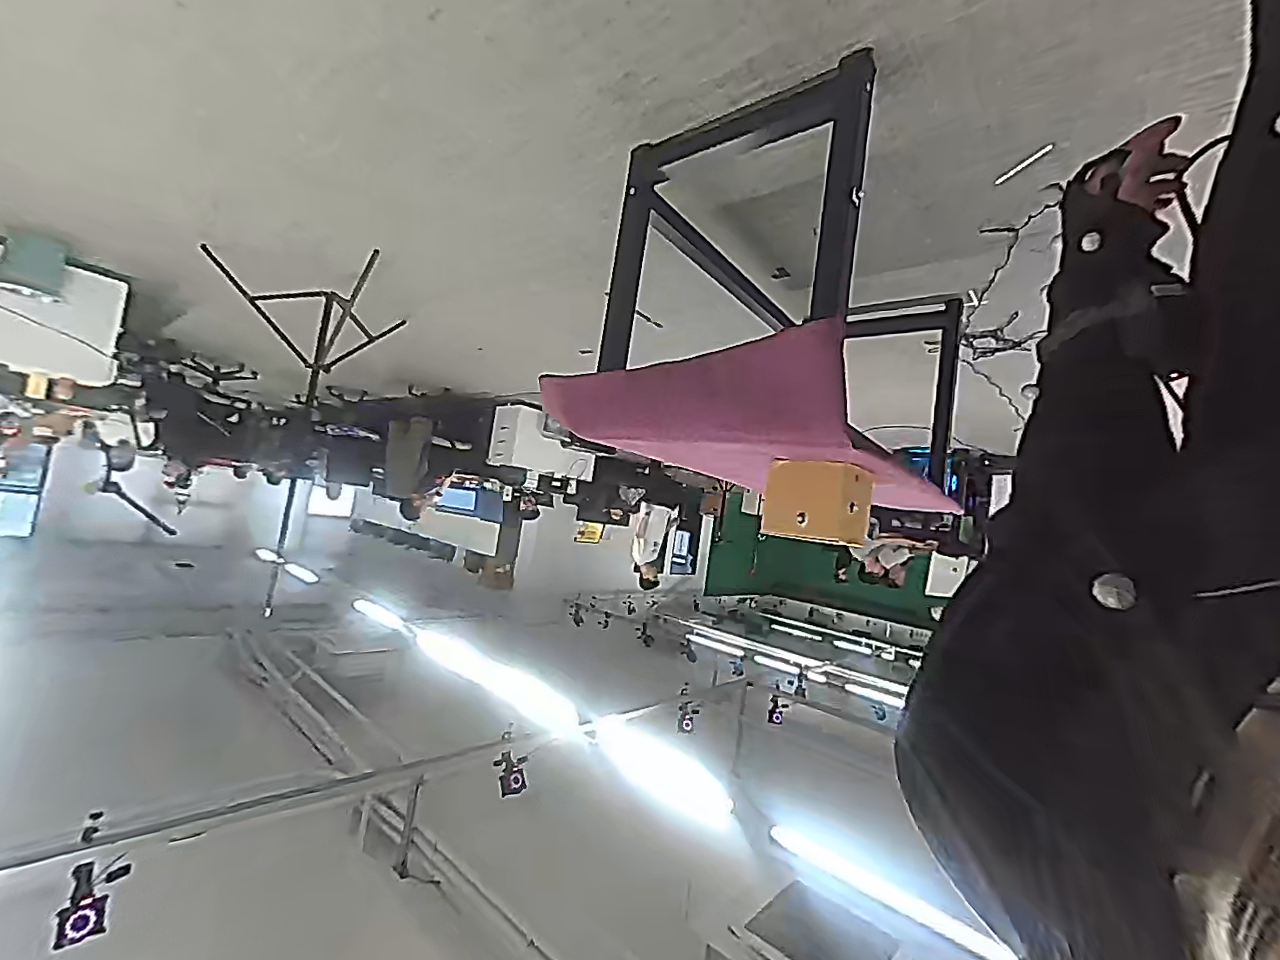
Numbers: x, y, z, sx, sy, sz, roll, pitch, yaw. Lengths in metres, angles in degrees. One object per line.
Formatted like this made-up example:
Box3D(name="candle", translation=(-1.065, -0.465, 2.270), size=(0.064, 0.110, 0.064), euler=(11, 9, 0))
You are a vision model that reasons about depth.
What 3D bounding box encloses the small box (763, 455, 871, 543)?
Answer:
Box3D(name="small box", translation=(0.391, 0.039, 1.177), size=(0.179, 0.176, 0.168), euler=(5, 175, 42))
